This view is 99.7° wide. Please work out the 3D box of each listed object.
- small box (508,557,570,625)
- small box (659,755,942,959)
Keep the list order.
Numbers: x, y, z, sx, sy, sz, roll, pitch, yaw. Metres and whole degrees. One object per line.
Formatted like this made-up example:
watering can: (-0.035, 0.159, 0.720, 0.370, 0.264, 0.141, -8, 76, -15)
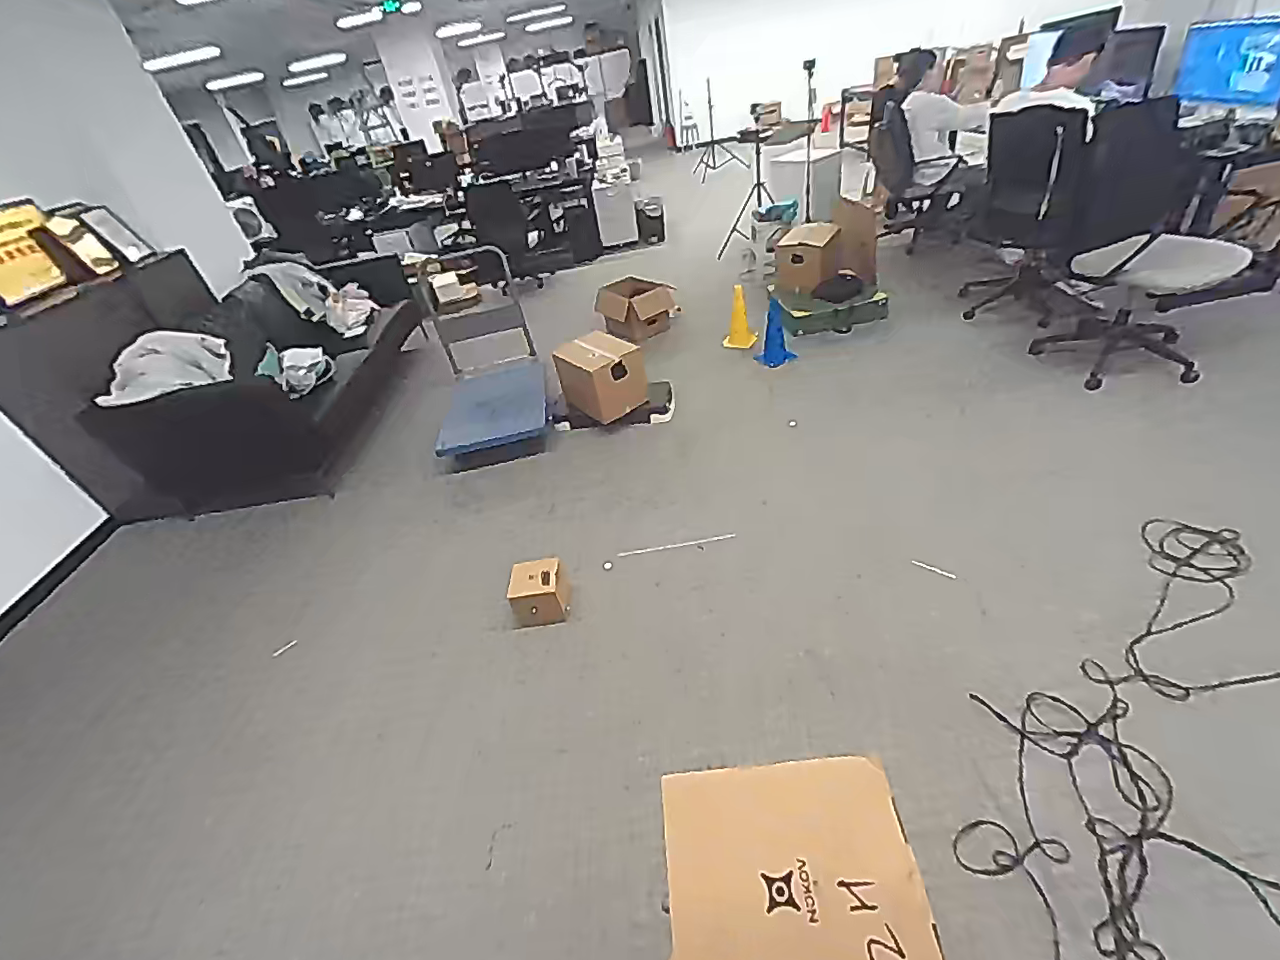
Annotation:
small box: (-0.360, 0.407, 1.965, 0.179, 0.176, 0.168, -9, 37, 5)
small box: (0.117, 0.338, 0.433, 0.179, 0.176, 0.168, -8, 49, 5)
